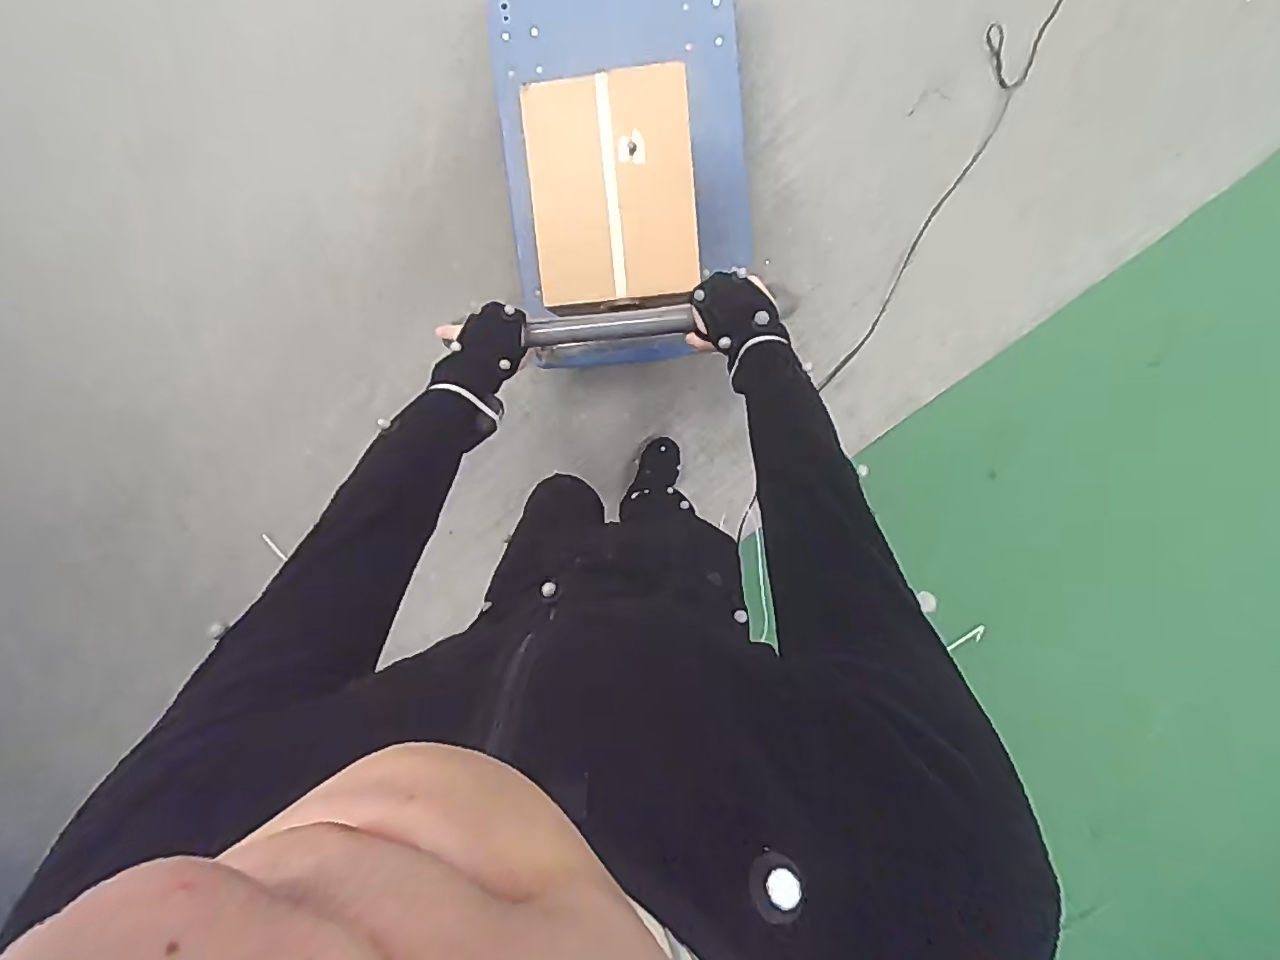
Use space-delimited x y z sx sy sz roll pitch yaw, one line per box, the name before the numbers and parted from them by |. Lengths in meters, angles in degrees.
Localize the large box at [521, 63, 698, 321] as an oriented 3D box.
large box | -0.044 -0.589 1.189 0.320 0.320 0.408 -4 99 5
